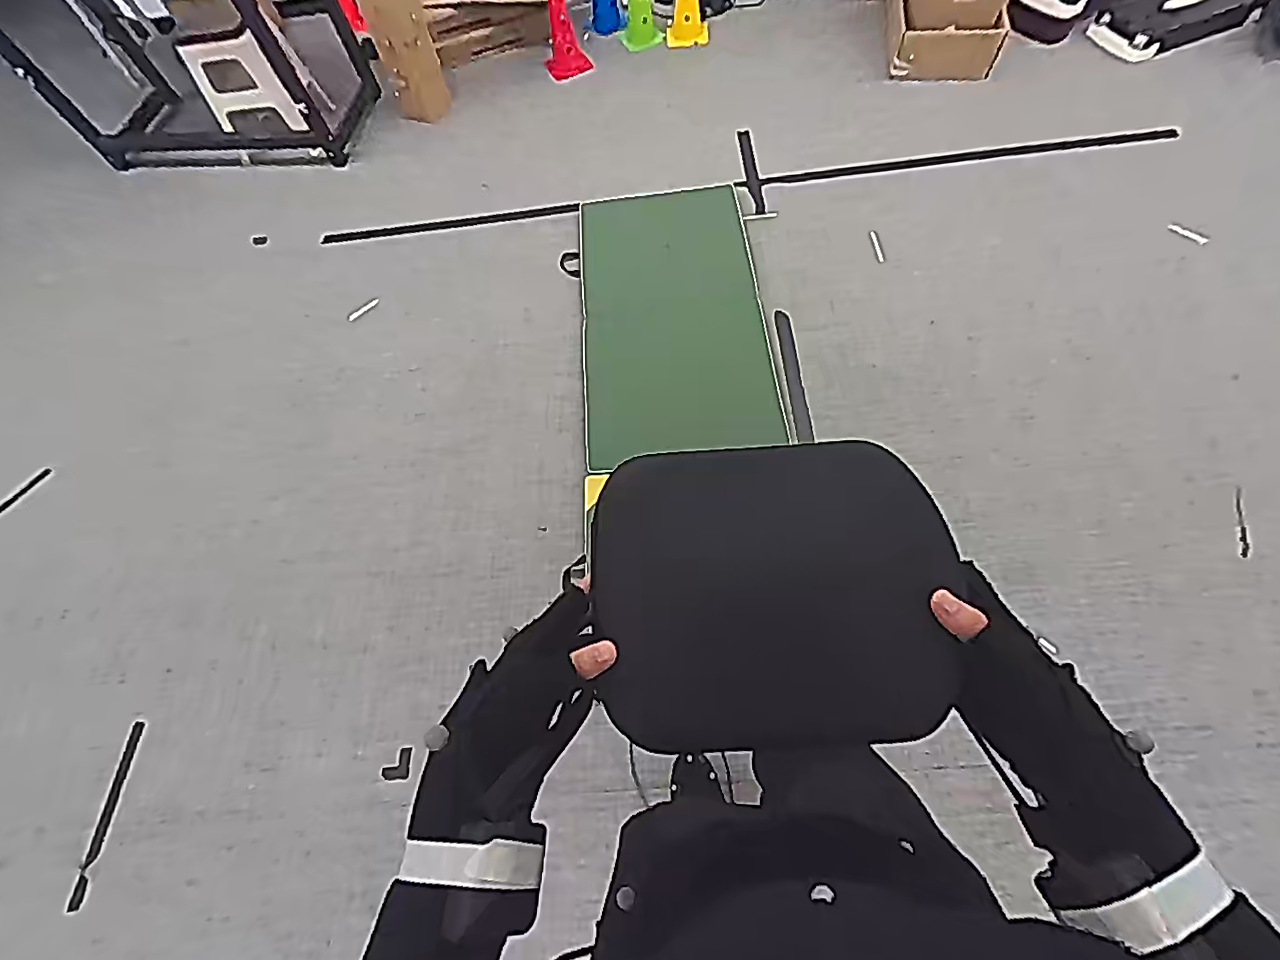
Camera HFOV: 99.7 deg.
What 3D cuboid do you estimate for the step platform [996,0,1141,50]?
[{"bbox_3d":[1.950,-2.175,2.387,0.684,0.204,0.286,-32,65,-9],"label":"step platform"}]
